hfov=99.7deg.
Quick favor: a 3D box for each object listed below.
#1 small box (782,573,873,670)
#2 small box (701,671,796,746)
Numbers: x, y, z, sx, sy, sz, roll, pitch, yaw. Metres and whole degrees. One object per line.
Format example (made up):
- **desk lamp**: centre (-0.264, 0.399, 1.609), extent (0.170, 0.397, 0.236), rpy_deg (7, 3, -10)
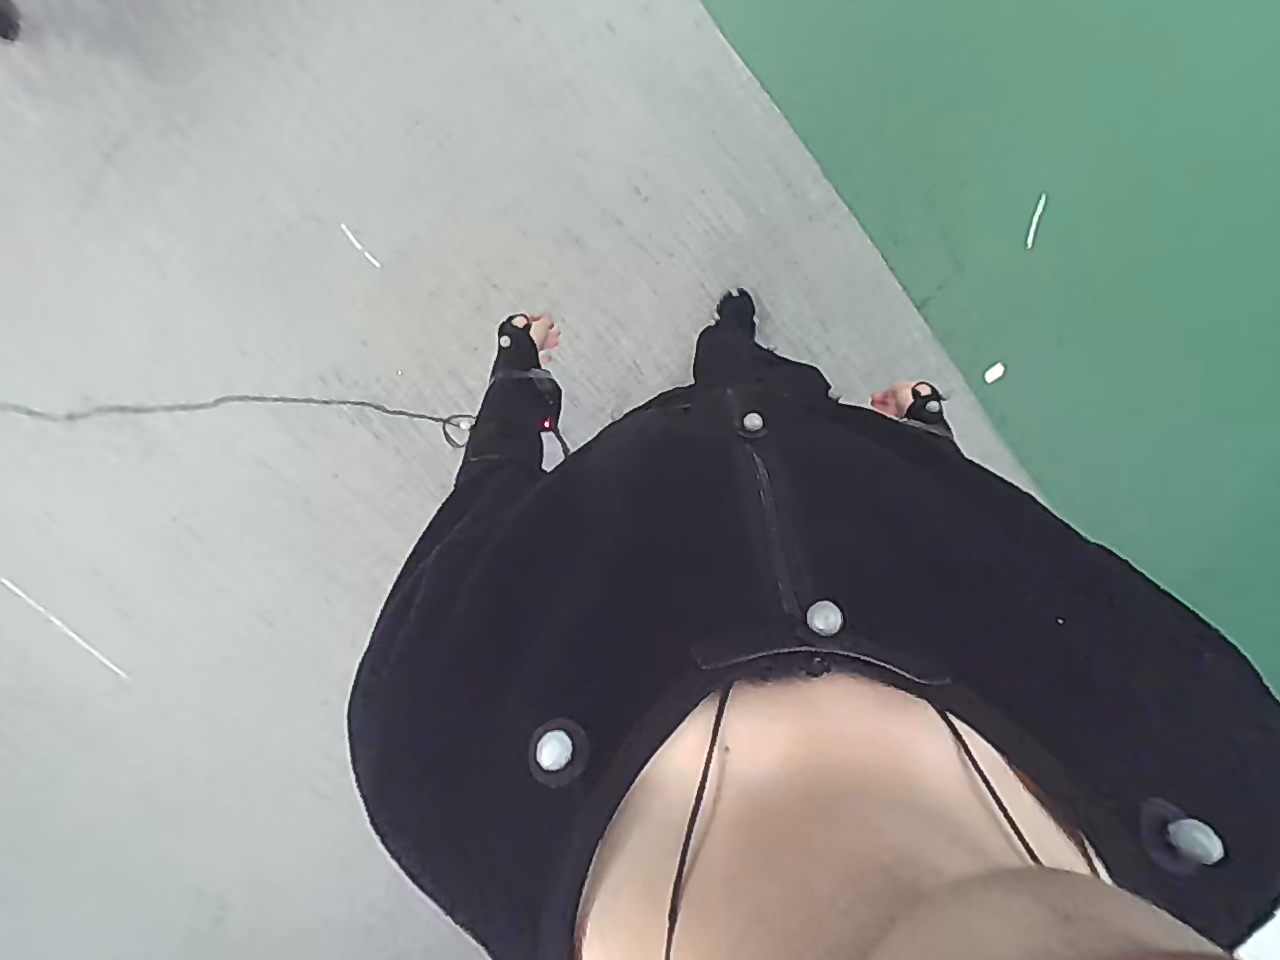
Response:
- **small box**: centre (0.516, 0.393, 1.523), extent (0.179, 0.176, 0.168), rpy_deg (-28, 101, 6)
- **small box**: centre (0.276, 0.629, 1.412), extent (0.168, 0.176, 0.179), rpy_deg (-41, 99, 10)
